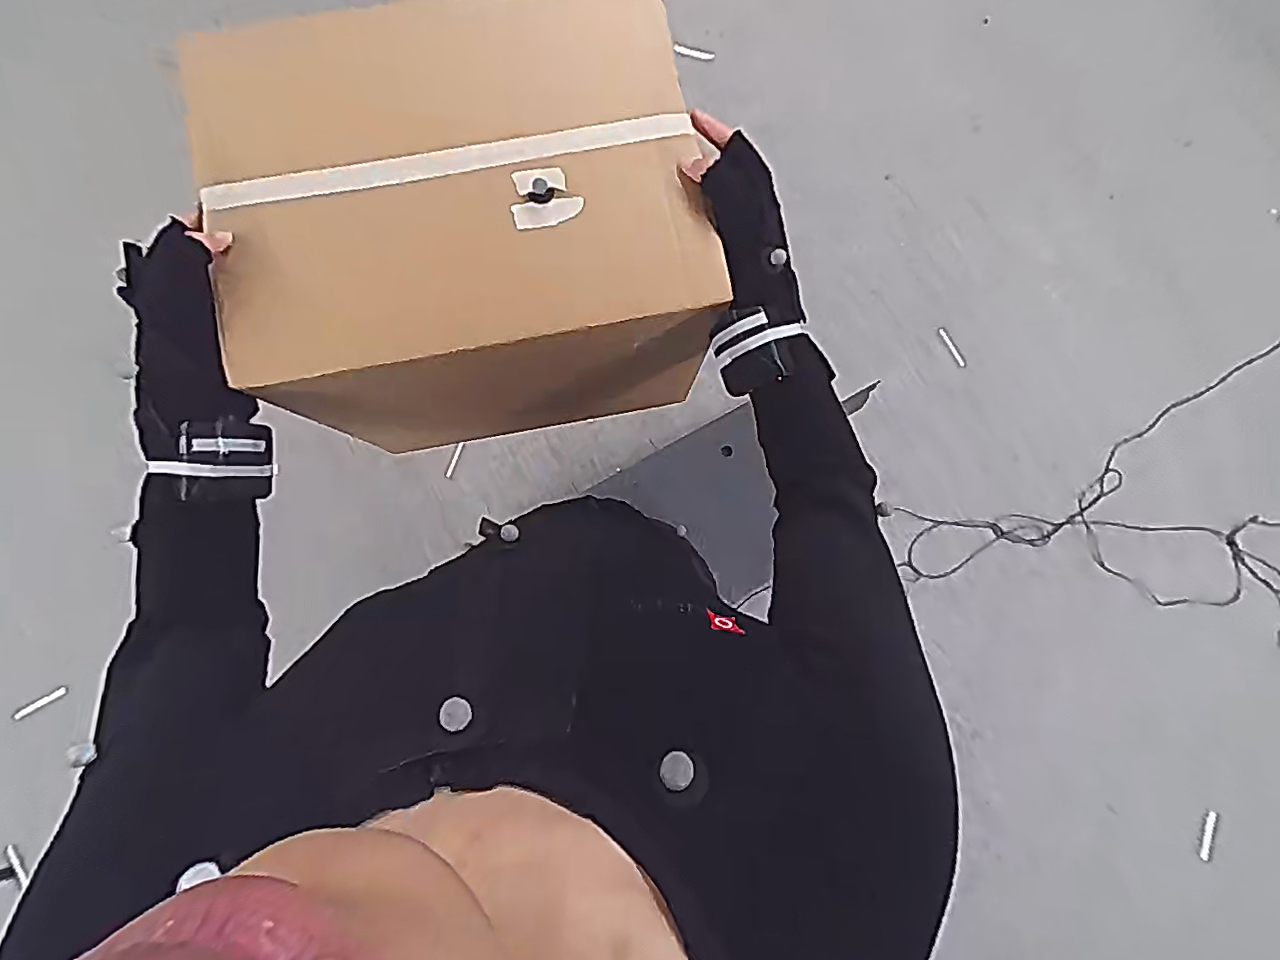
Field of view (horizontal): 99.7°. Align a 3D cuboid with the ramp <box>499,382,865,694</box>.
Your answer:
[{"bbox_3d":[0.153,0.125,1.569,0.991,0.206,0.509,-32,84,-4],"label":"ramp"}]

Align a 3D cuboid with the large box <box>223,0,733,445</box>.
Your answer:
[{"bbox_3d":[-0.149,-0.250,0.613,0.408,0.320,0.320,-11,84,-4],"label":"large box"}]
